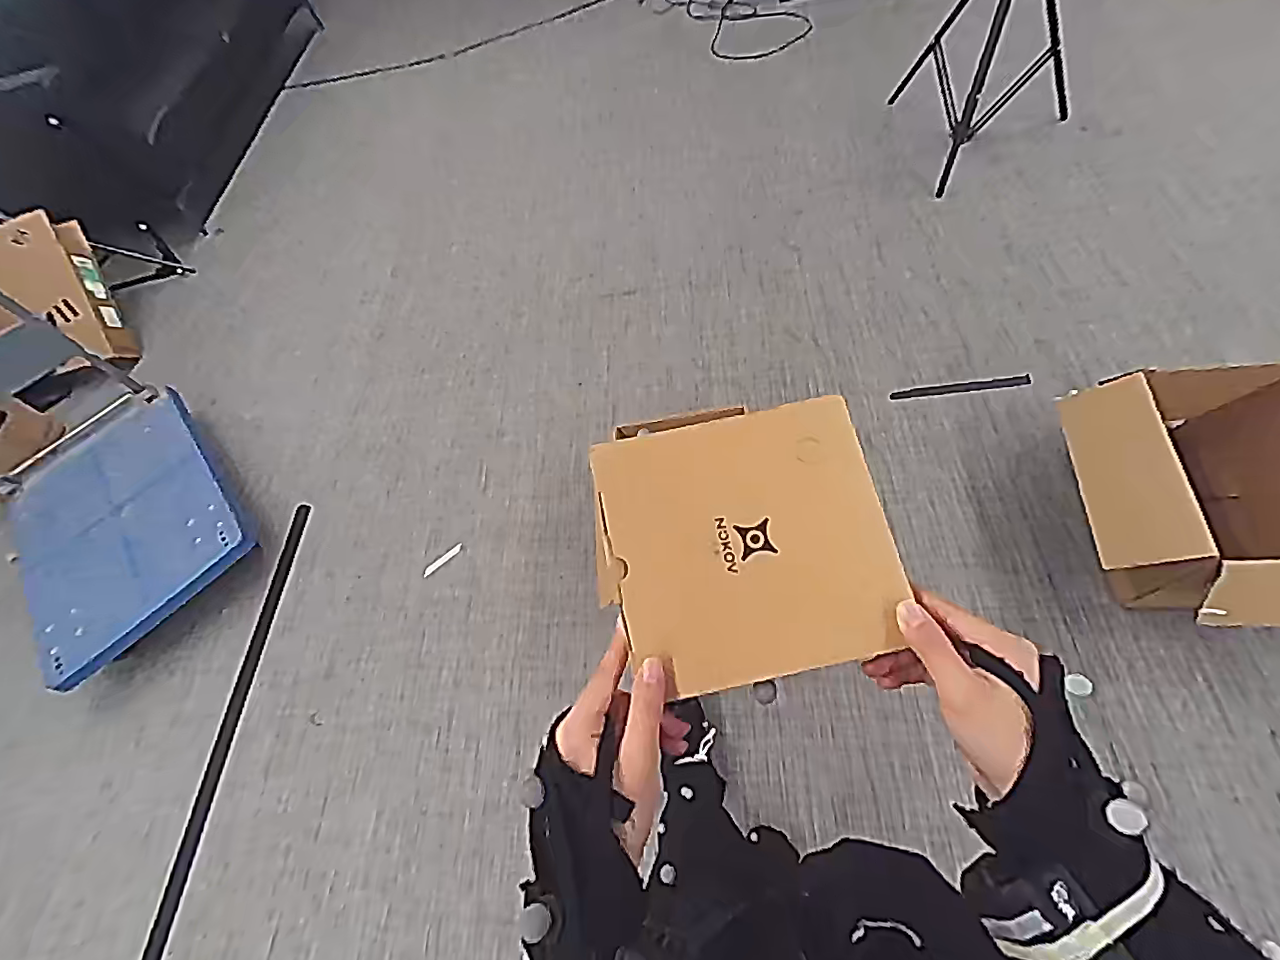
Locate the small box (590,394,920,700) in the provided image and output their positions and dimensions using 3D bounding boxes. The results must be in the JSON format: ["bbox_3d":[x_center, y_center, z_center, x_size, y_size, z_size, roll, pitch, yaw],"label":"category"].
[{"bbox_3d":[0.070,0.057,0.416,0.179,0.176,0.168,-13,74,0],"label":"small box"}]
